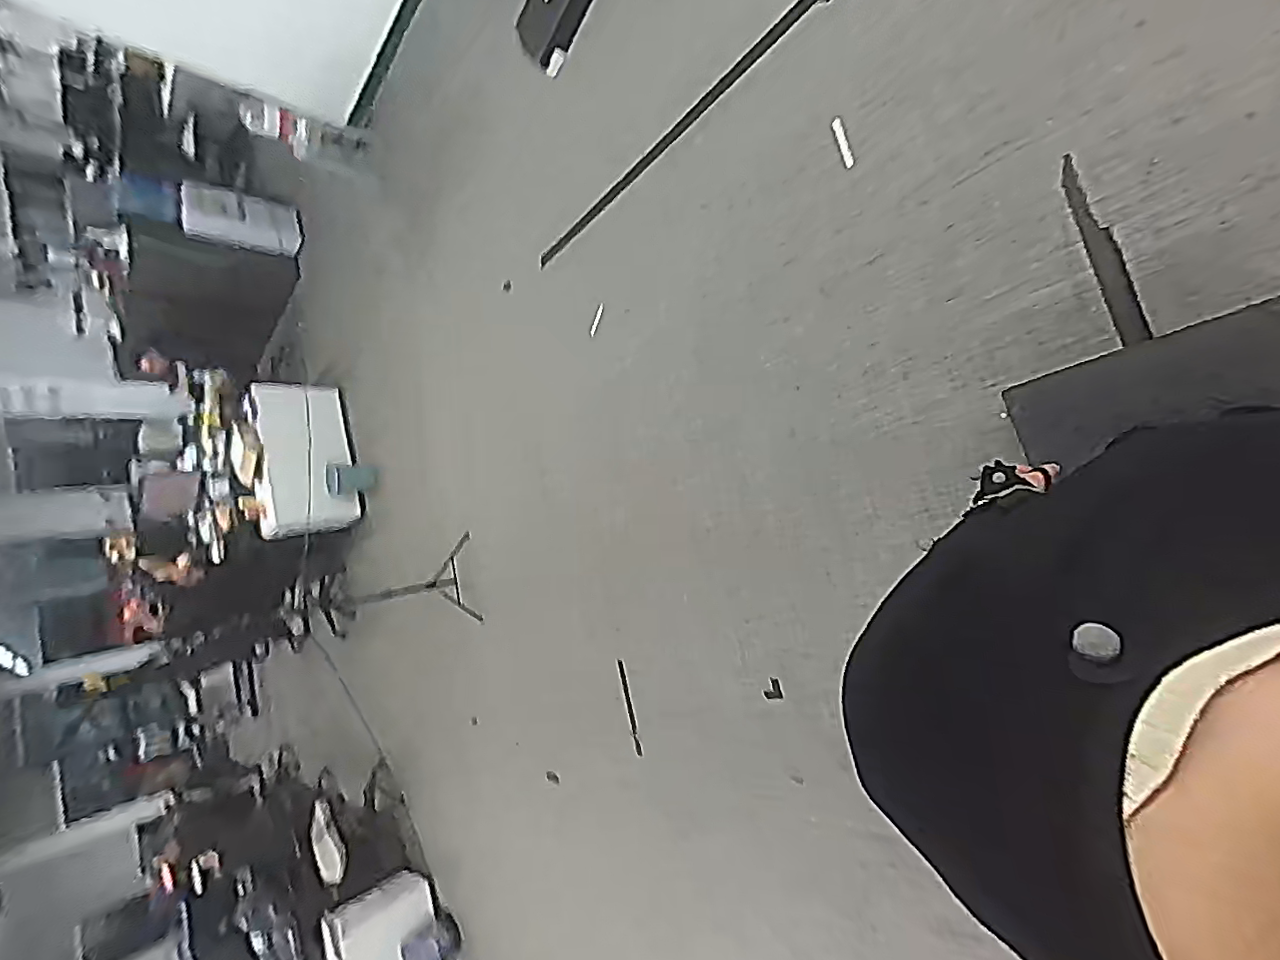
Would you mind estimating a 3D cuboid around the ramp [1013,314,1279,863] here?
[{"bbox_3d":[1.134,0.231,0.966,0.509,0.206,0.991,-25,76,40],"label":"ramp"}]
